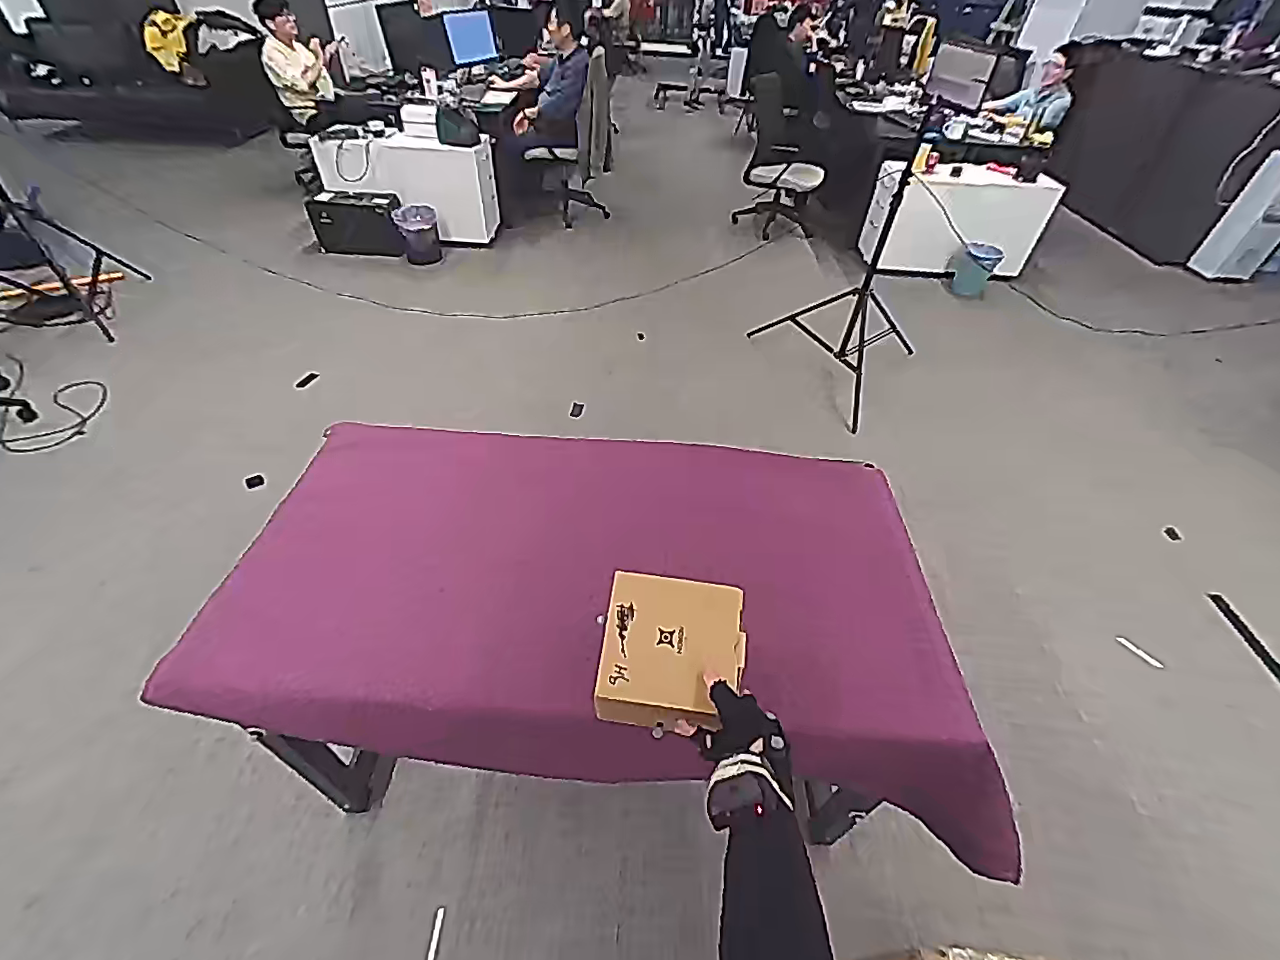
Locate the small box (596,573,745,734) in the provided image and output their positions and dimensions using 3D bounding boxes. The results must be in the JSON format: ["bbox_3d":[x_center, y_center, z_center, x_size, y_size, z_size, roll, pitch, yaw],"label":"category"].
[{"bbox_3d":[0.039,0.248,0.754,0.179,0.176,0.168,8,57,2],"label":"small box"}]
